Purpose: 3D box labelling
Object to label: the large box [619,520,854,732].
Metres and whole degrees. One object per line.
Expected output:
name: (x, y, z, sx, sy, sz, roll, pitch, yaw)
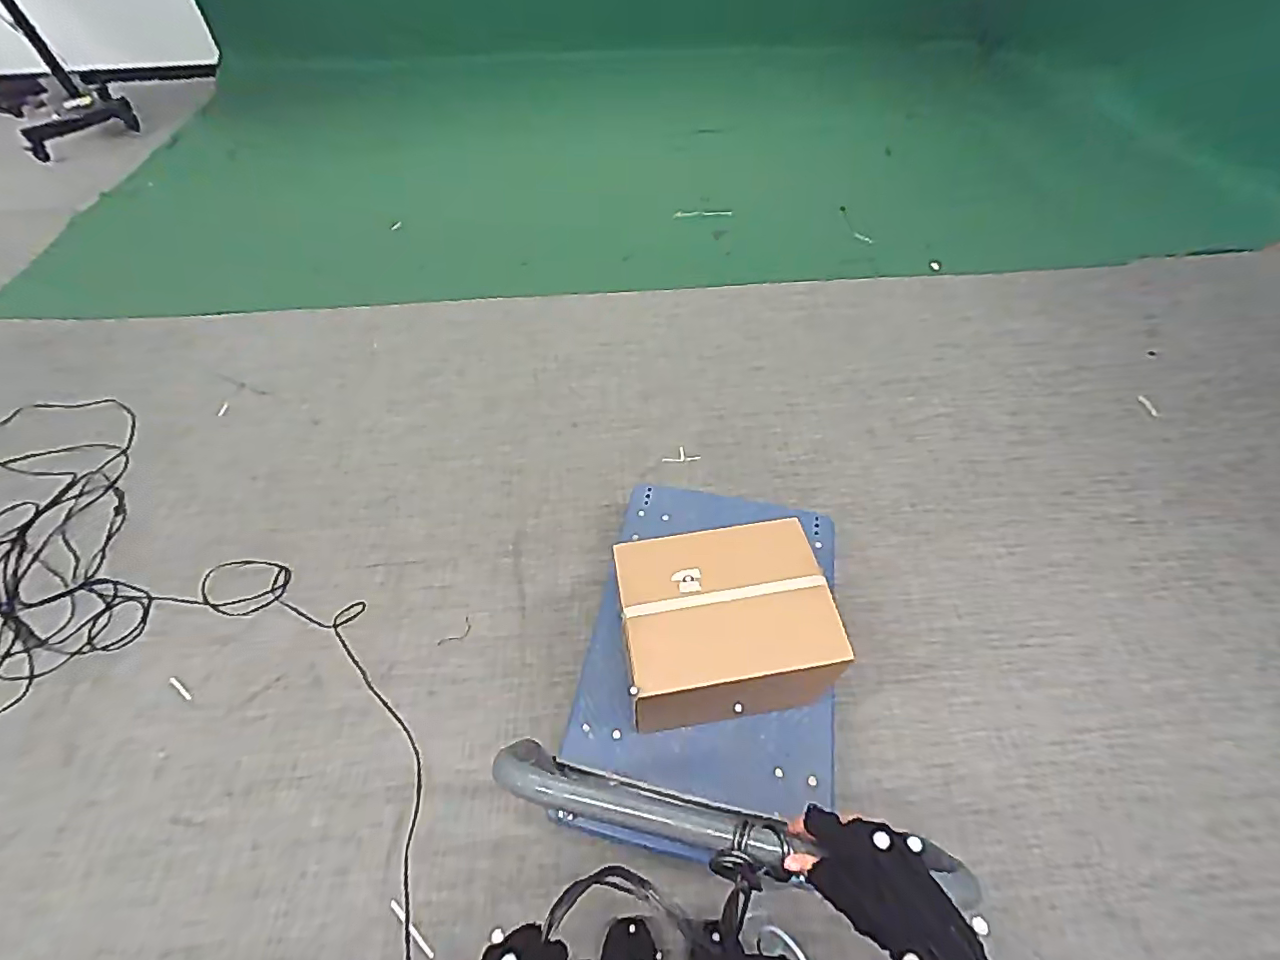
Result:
large box: (0.181, 0.325, 1.184, 0.408, 0.320, 0.320, -9, 53, -5)
